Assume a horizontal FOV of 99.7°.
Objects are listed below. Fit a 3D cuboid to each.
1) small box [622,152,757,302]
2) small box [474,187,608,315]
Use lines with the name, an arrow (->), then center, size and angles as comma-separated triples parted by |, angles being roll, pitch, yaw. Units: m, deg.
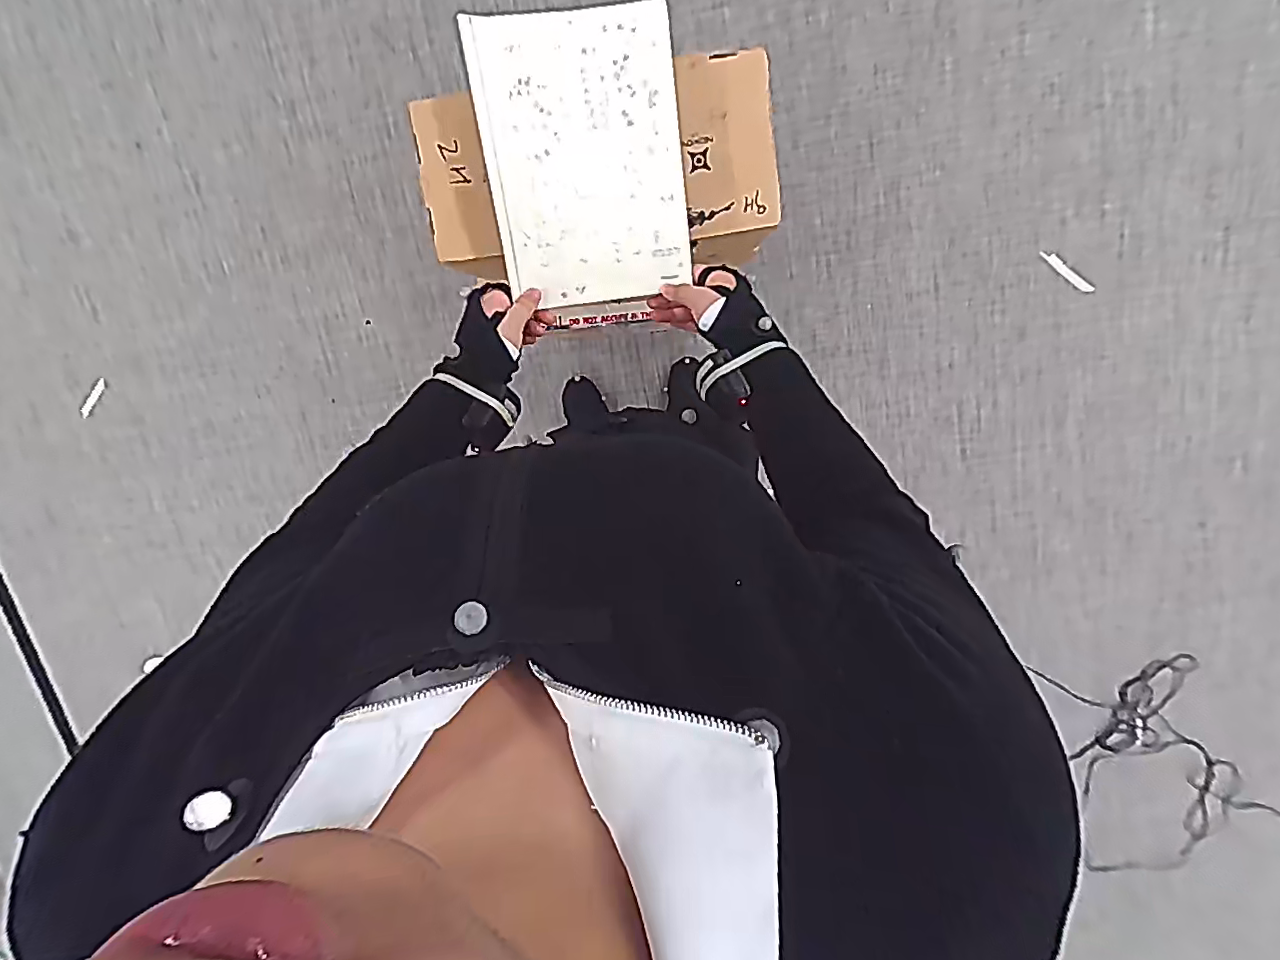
small box -> 0.071, -0.381, 0.844 | 0.179, 0.176, 0.168 | -10, 103, 3
small box -> -0.144, -0.352, 0.858 | 0.179, 0.176, 0.168 | -1, 104, 4
